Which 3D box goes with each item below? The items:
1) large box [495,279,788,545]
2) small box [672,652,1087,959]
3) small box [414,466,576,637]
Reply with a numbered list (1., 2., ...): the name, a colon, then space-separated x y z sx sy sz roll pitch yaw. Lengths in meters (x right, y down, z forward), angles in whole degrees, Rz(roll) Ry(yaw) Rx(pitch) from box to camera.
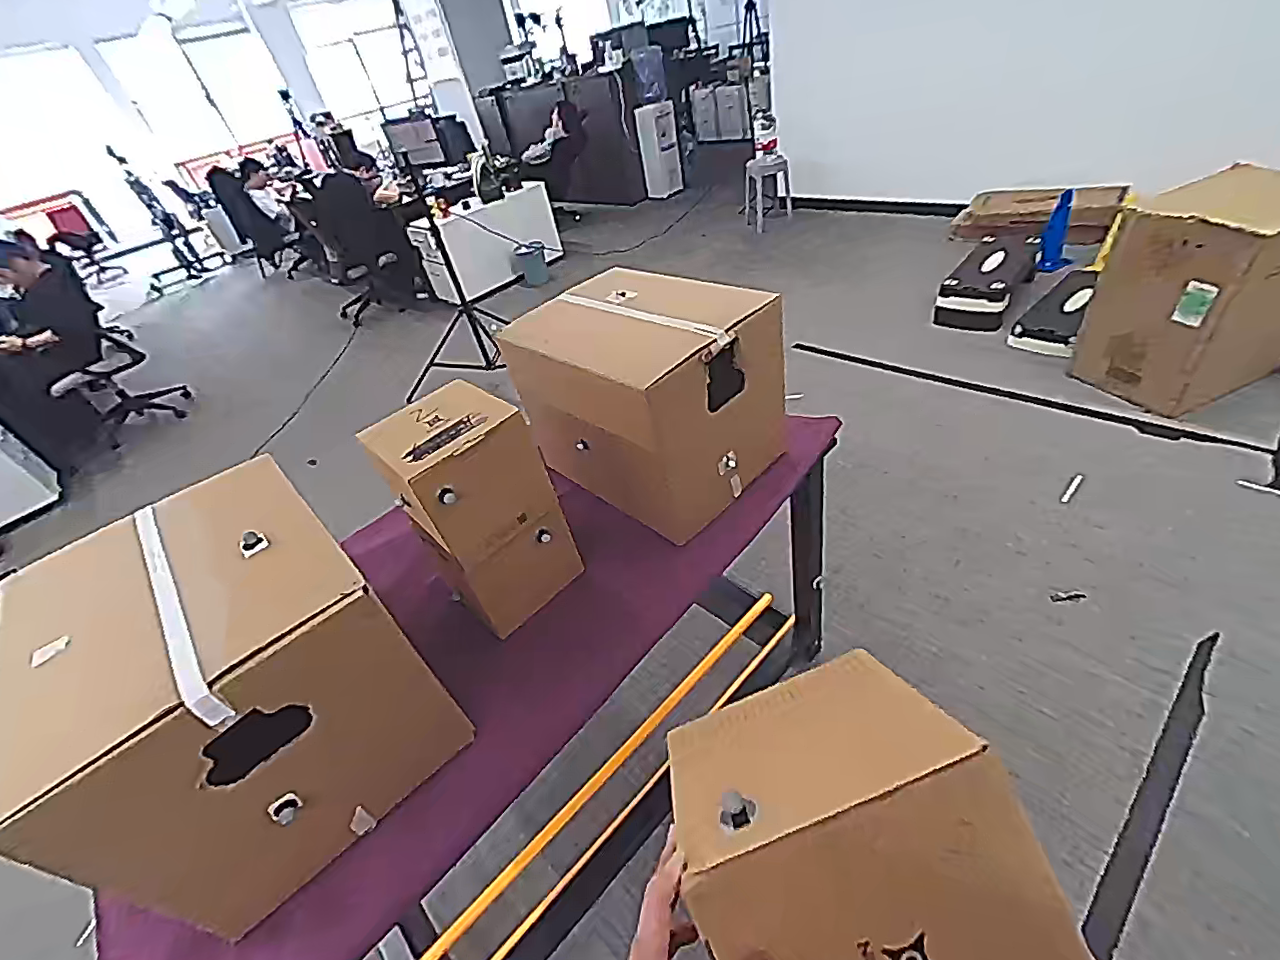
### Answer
1. large box: 0.013 -0.146 0.998 0.320 0.320 0.408 -38 43 -27
2. small box: 0.131 0.238 0.353 0.179 0.168 0.176 -24 -1 2
3. small box: -0.221 0.112 0.869 0.179 0.176 0.168 -38 44 -27
